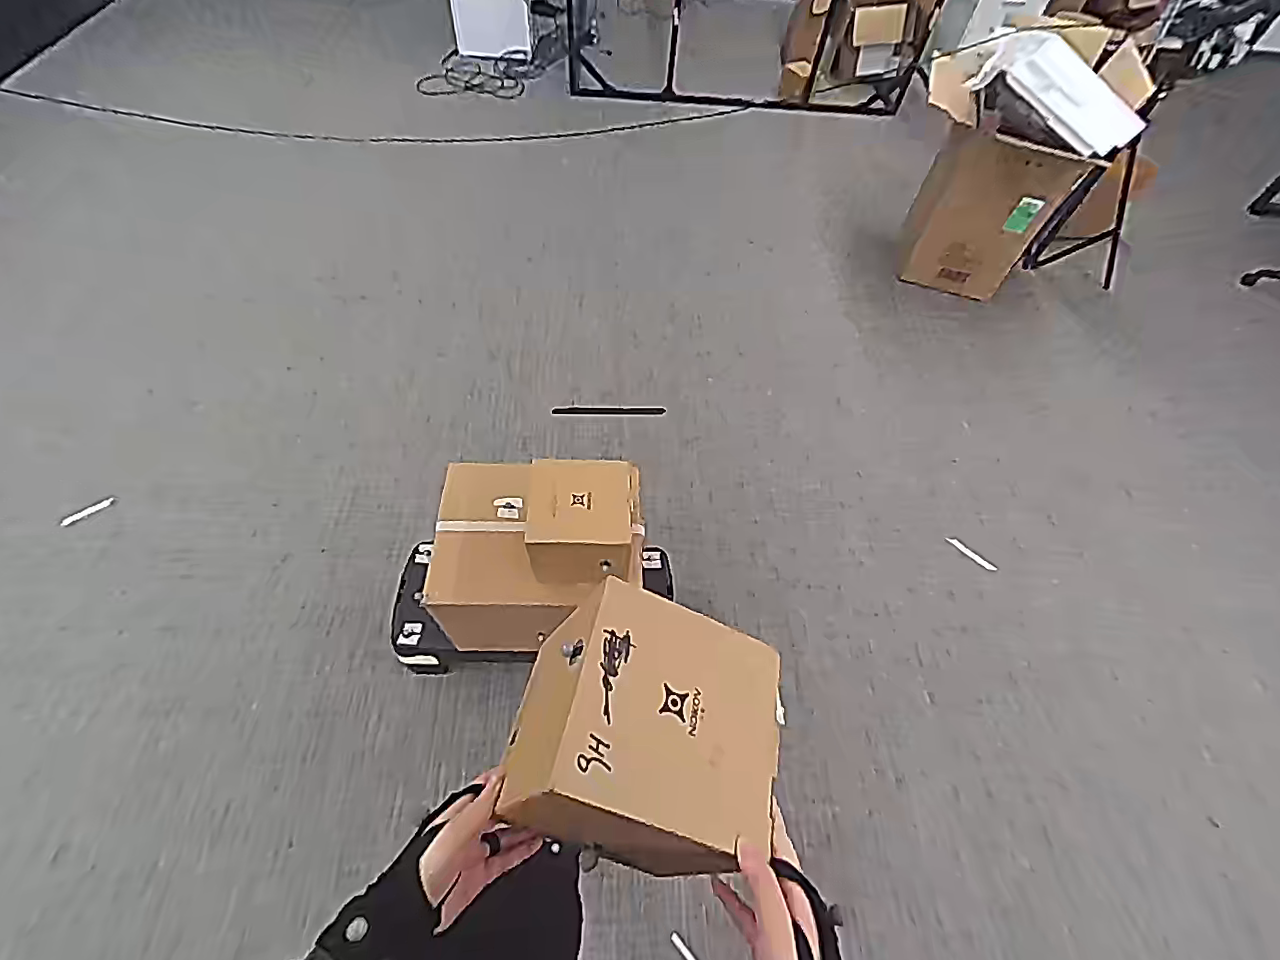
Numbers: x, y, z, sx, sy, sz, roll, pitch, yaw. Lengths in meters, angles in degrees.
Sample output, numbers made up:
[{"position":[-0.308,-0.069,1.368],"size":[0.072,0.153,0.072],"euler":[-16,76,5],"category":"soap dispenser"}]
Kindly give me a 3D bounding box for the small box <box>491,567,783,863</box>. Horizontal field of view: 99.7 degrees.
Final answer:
[{"position":[-0.001,0.210,0.466],"size":[0.179,0.176,0.168],"euler":[28,45,-12],"category":"small box"}]

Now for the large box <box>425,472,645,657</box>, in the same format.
[{"position":[-0.199,0.192,1.184],"size":[0.408,0.320,0.320],"euler":[1,56,-3],"category":"large box"}]

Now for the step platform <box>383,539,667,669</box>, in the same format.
[{"position":[-0.268,0.338,1.368],"size":[0.684,0.204,0.286],"euler":[6,56,0],"category":"step platform"}]

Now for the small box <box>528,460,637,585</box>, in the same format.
[{"position":[-0.097,0.081,0.970],"size":[0.179,0.176,0.168],"euler":[1,57,-3],"category":"small box"}]
